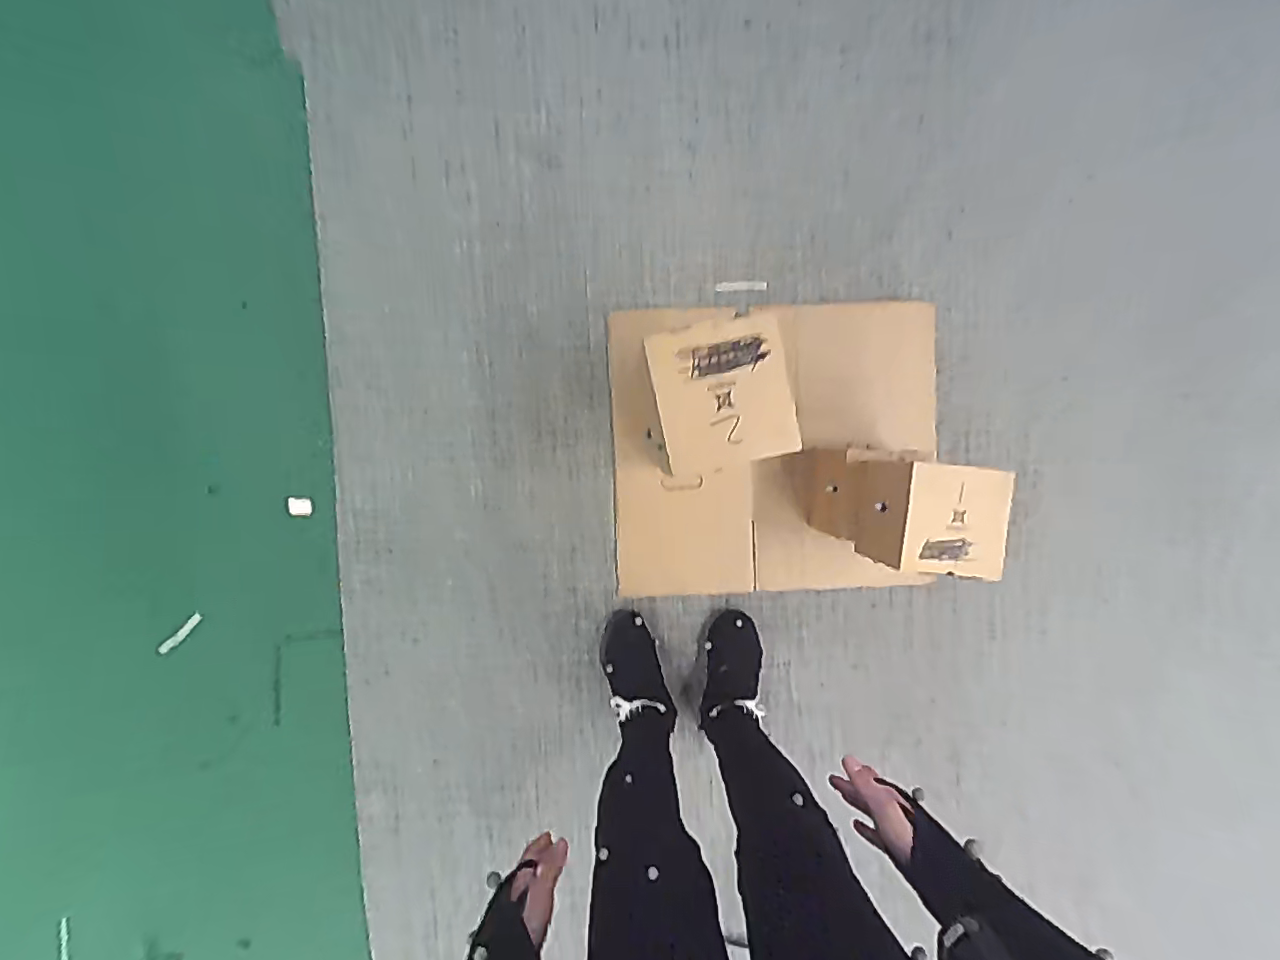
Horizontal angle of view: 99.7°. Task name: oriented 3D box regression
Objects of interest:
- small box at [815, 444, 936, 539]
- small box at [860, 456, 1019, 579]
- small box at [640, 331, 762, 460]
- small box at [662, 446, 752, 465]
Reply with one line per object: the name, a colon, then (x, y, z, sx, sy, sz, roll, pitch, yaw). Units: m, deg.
small box: (0.457, 0.020, 1.075, 0.168, 0.176, 0.179, 2, 92, -1)
small box: (0.491, 0.055, 0.913, 0.168, 0.176, 0.179, 6, 92, -2)
small box: (0.093, -0.132, 0.896, 0.168, 0.176, 0.179, -9, 93, -2)
small box: (0.110, -0.126, 1.061, 0.168, 0.176, 0.179, -10, 93, -1)
